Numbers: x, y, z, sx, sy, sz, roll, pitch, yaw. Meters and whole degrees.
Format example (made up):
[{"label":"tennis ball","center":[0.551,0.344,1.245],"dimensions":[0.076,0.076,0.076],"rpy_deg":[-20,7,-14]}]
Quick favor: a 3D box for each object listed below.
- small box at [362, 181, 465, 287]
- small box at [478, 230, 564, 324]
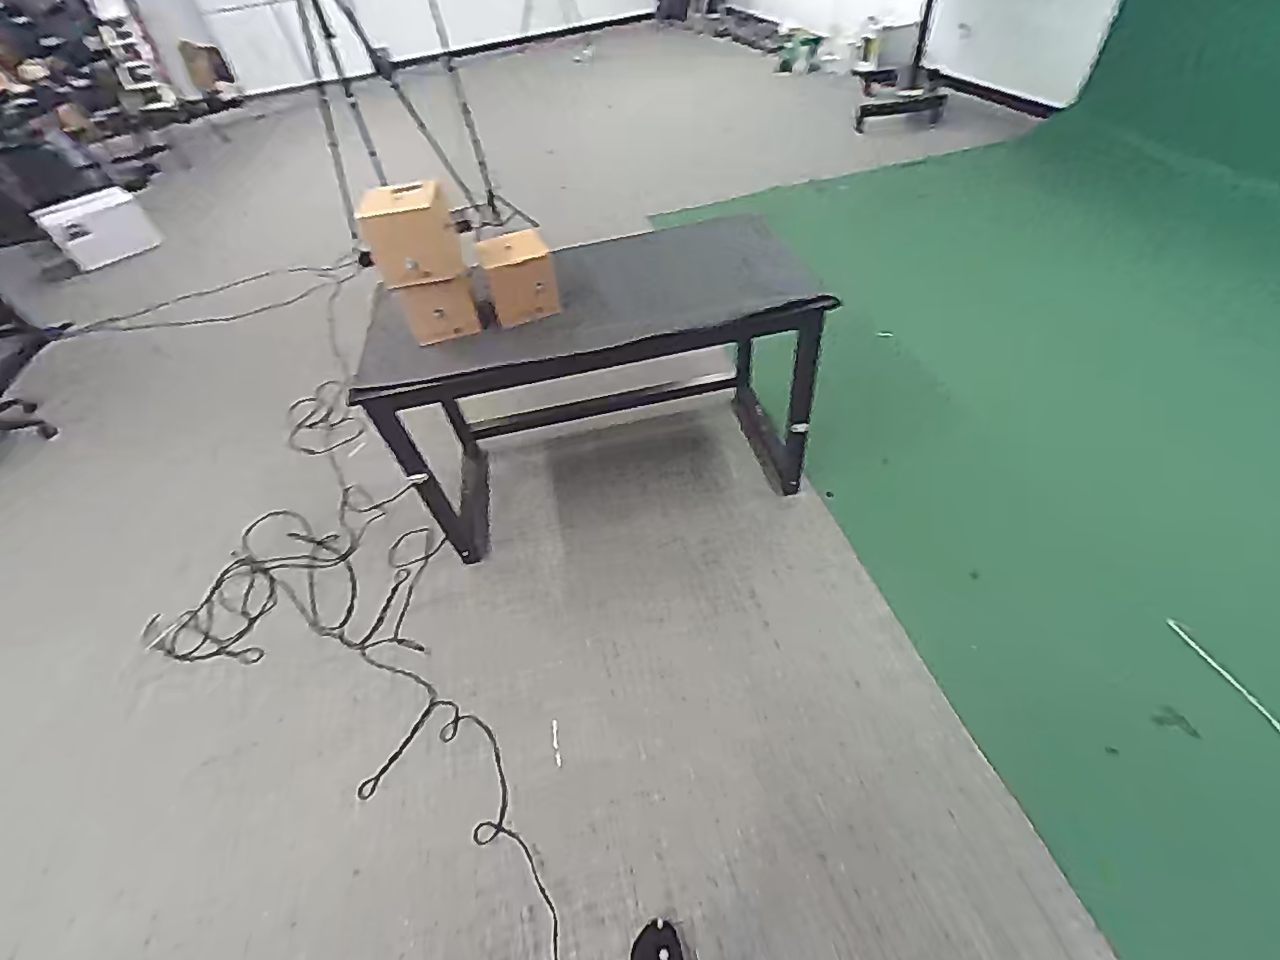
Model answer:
[{"label":"small box","center":[-0.525,-0.581,1.283],"dimensions":[0.168,0.176,0.179],"rpy_deg":[-10,48,-2]},{"label":"small box","center":[-0.311,-0.532,1.434],"dimensions":[0.168,0.176,0.179],"rpy_deg":[-19,48,-10]}]
